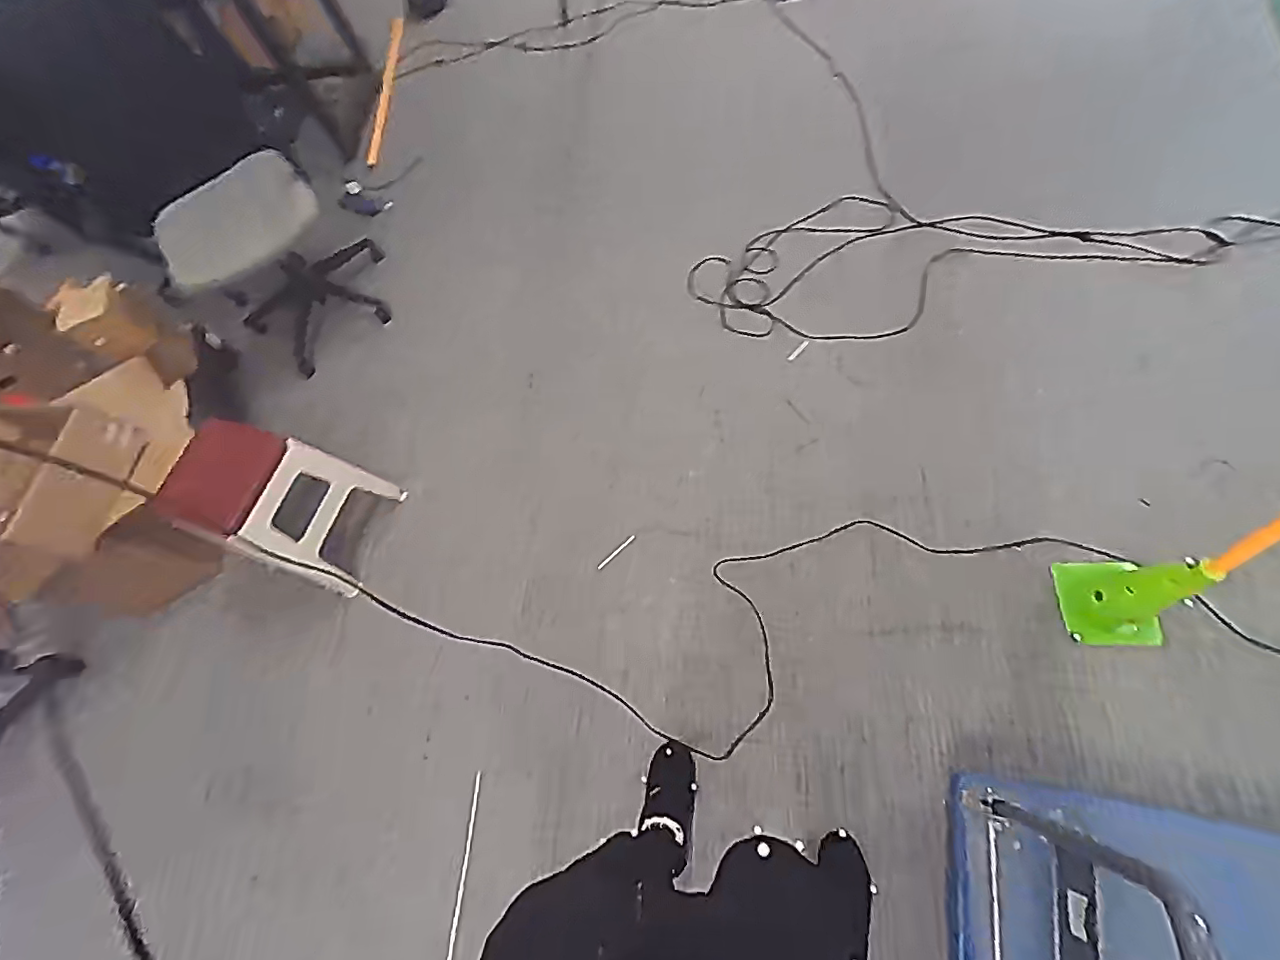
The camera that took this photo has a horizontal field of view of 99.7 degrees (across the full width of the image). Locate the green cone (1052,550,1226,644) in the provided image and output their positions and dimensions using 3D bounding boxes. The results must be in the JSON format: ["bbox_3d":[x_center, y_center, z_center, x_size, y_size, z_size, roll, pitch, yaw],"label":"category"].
[{"bbox_3d":[1.109,0.226,1.166,0.200,0.368,0.202,-3,65,10],"label":"green cone"}]
